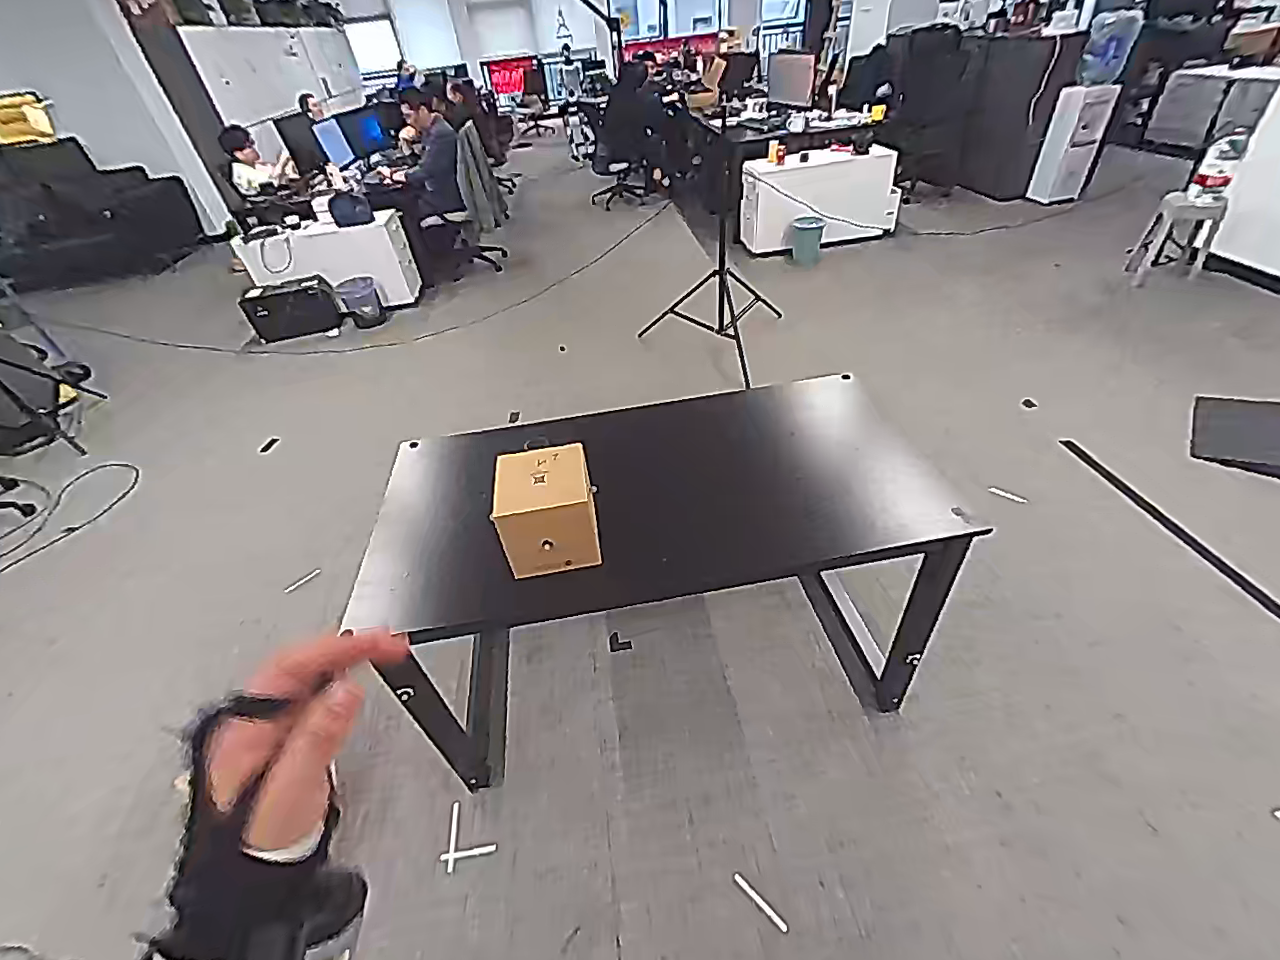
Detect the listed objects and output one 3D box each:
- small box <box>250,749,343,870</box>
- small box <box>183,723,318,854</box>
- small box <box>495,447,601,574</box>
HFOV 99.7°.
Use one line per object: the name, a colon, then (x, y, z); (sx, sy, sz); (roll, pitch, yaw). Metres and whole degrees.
small box: (-0.891, 0.838, 1.375); (0.168, 0.176, 0.179); (26, 50, 33)
small box: (-0.899, 0.720, 1.259); (0.168, 0.176, 0.179); (28, 51, 34)
small box: (-0.173, 0.064, 1.046); (0.168, 0.176, 0.179); (-9, 40, -3)
